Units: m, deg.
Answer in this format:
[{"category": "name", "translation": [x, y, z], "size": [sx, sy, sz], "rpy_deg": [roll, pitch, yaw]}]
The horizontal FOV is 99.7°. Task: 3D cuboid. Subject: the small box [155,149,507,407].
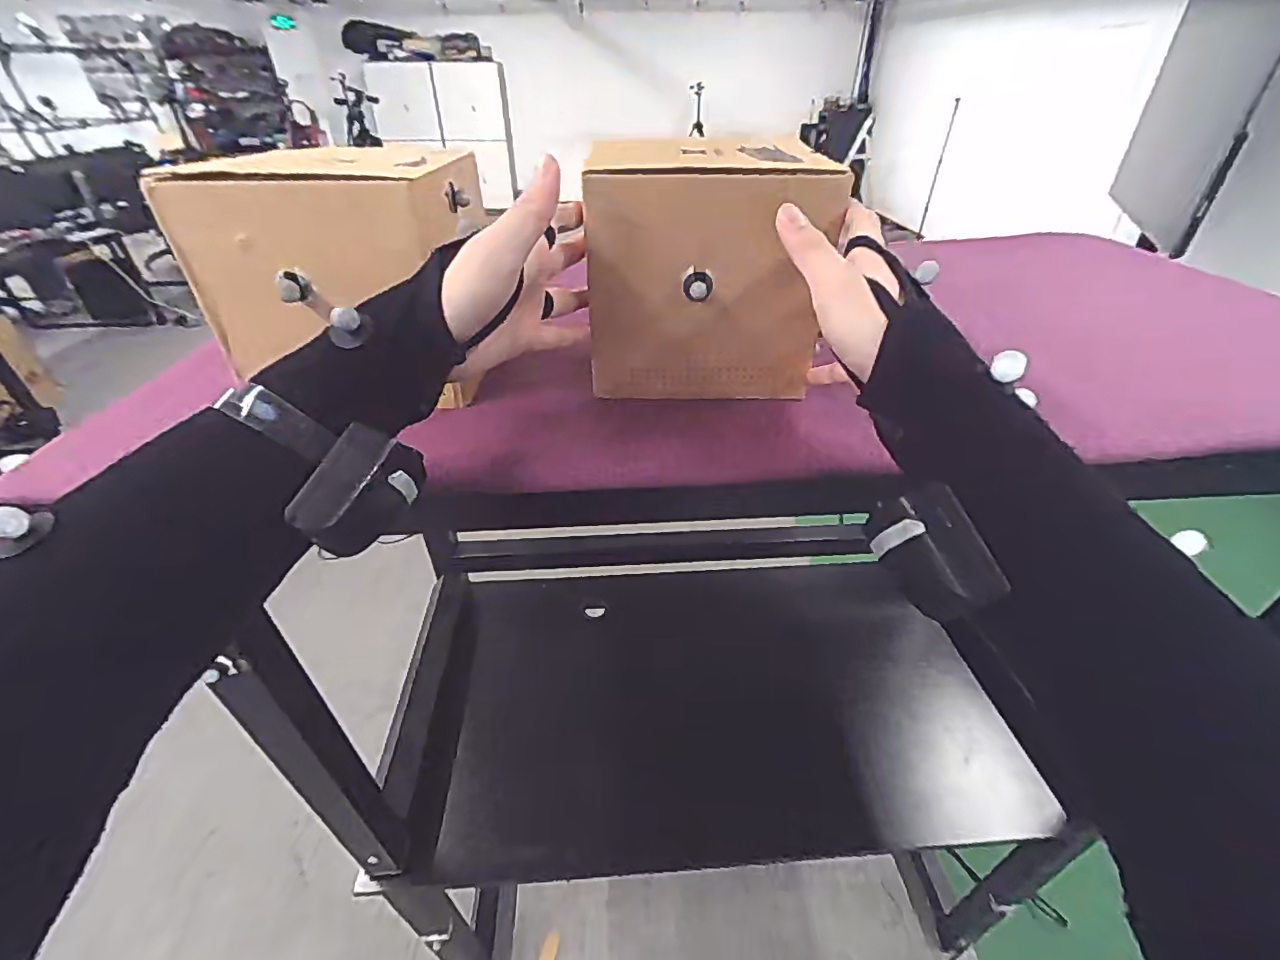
[{"category": "small box", "translation": [-0.224, -0.170, 0.454], "size": [0.179, 0.176, 0.168], "rpy_deg": [-2, 37, 0]}]
